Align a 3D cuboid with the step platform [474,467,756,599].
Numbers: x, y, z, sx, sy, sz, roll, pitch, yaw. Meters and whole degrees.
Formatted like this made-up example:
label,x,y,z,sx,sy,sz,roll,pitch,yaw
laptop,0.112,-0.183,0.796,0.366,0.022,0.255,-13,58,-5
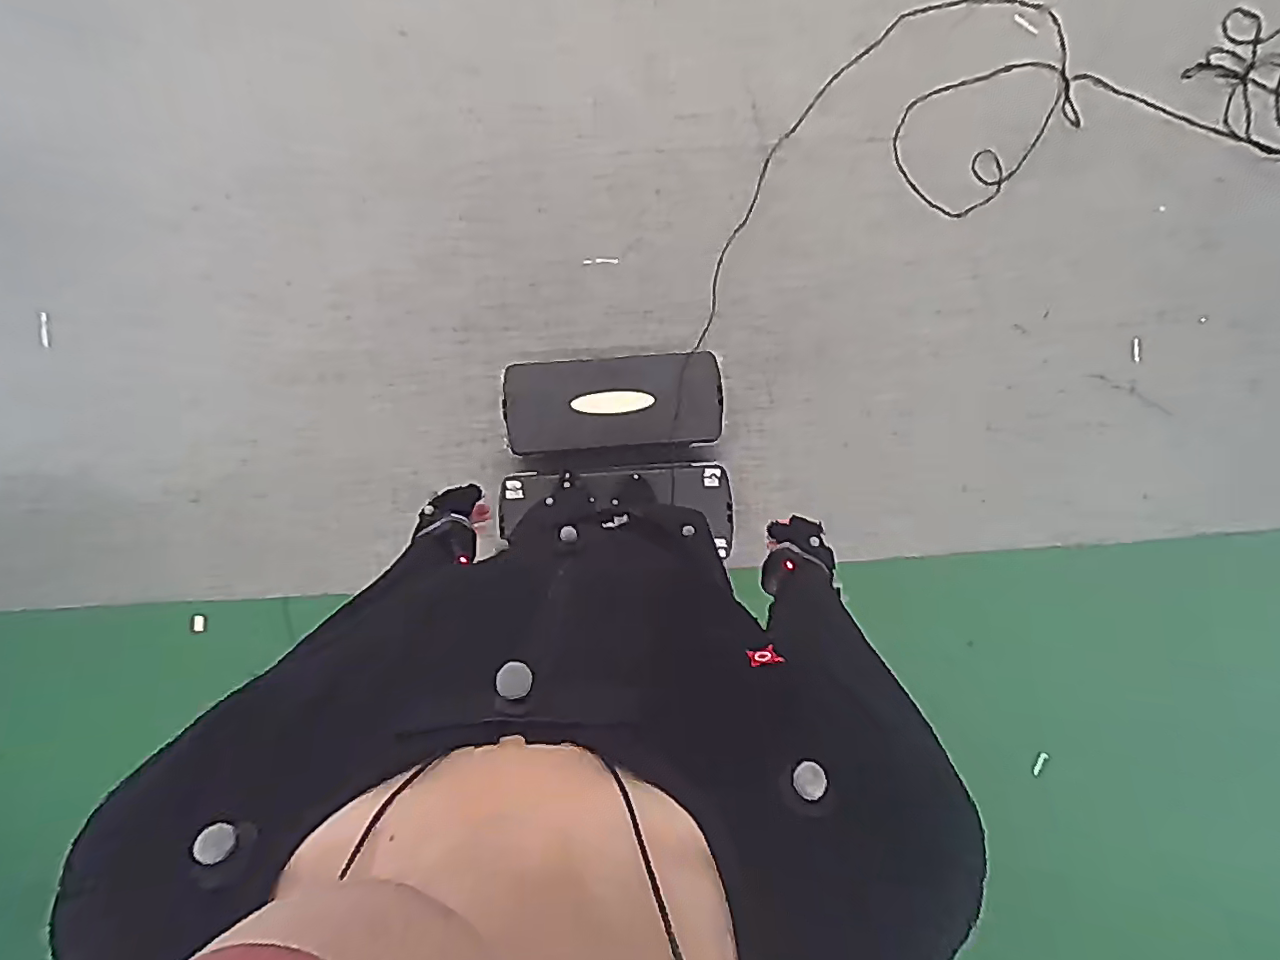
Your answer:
label,x,y,z,sx,sy,sz,roll,pitch,yaw
step platform,-0.062,0.129,1.397,0.684,0.204,0.286,-4,90,-2
